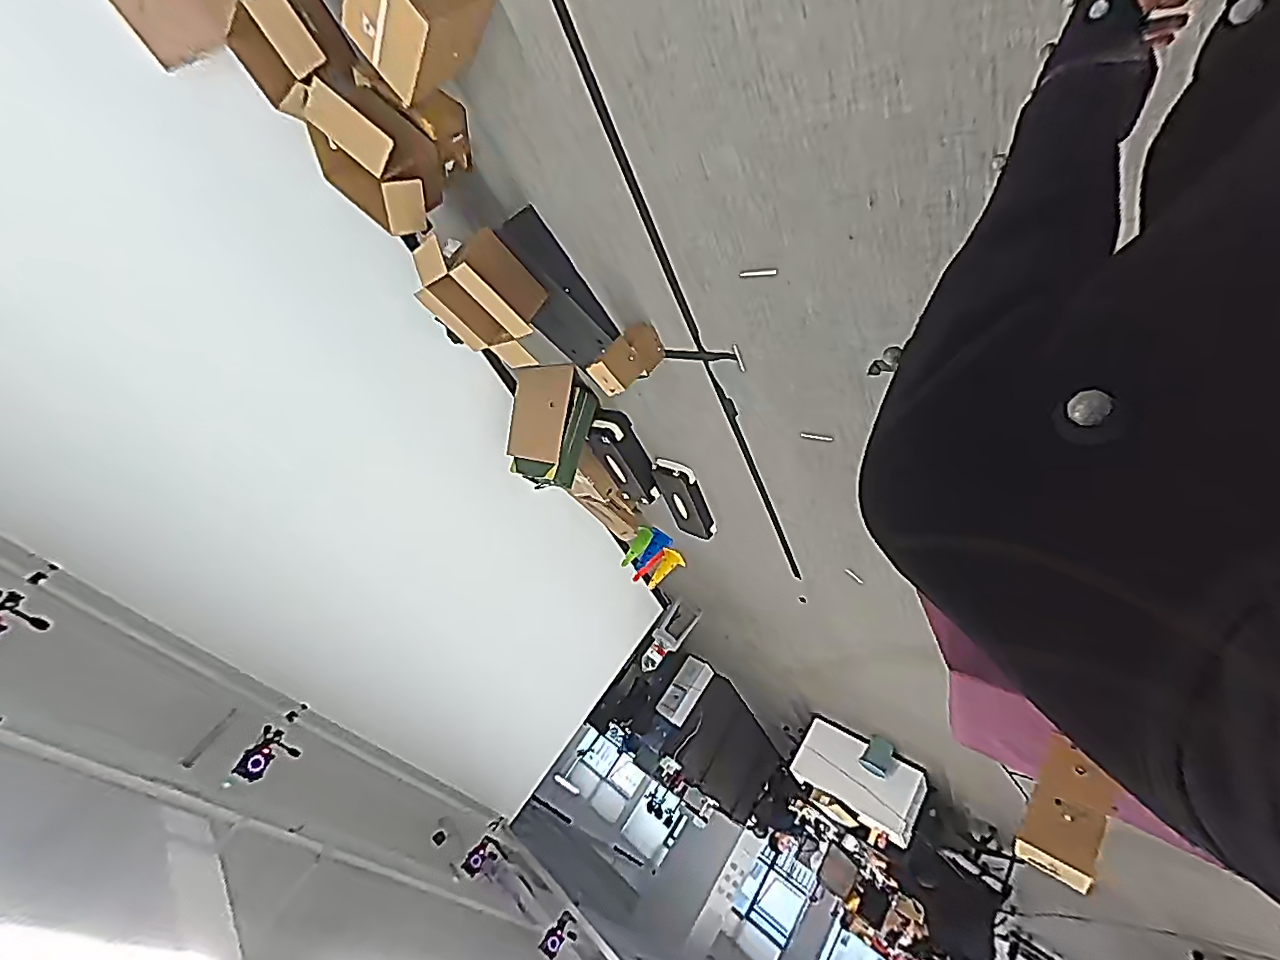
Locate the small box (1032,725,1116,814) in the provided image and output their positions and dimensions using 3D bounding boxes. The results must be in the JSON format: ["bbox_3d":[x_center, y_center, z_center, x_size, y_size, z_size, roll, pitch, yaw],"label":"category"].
[{"bbox_3d":[1.259,0.852,1.577,0.168,0.176,0.179,16,147,43],"label":"small box"}]

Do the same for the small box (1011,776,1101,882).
[{"bbox_3d":[1.167,0.975,1.518,0.168,0.176,0.179,15,147,42],"label":"small box"}]
